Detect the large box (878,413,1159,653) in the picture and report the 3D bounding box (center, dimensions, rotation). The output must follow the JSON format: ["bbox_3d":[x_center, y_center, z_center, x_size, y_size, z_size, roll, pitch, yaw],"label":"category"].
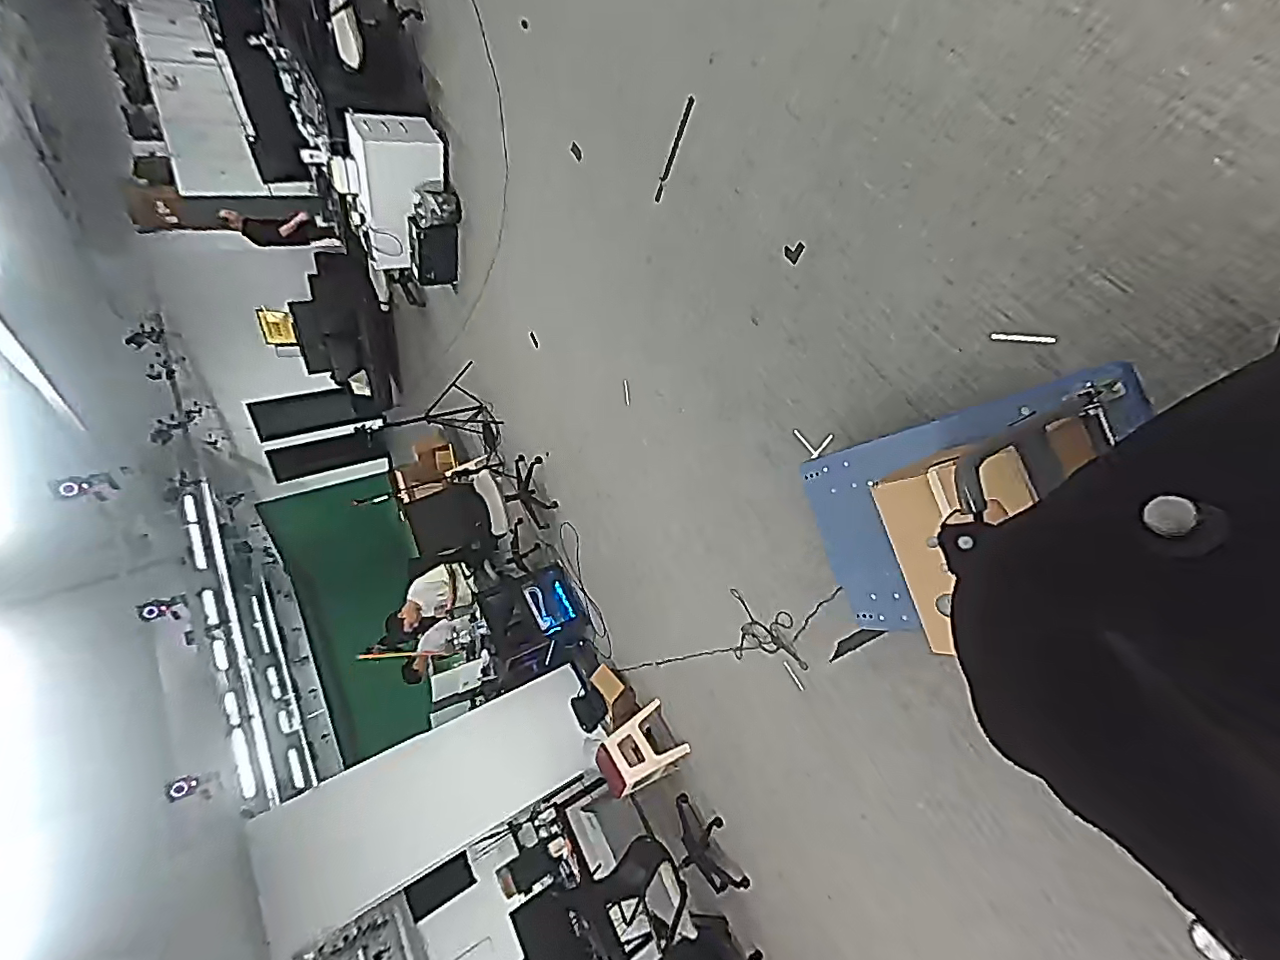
[{"bbox_3d":[0.798,0.114,1.159,0.320,0.320,0.408,-24,84,58],"label":"large box"}]
